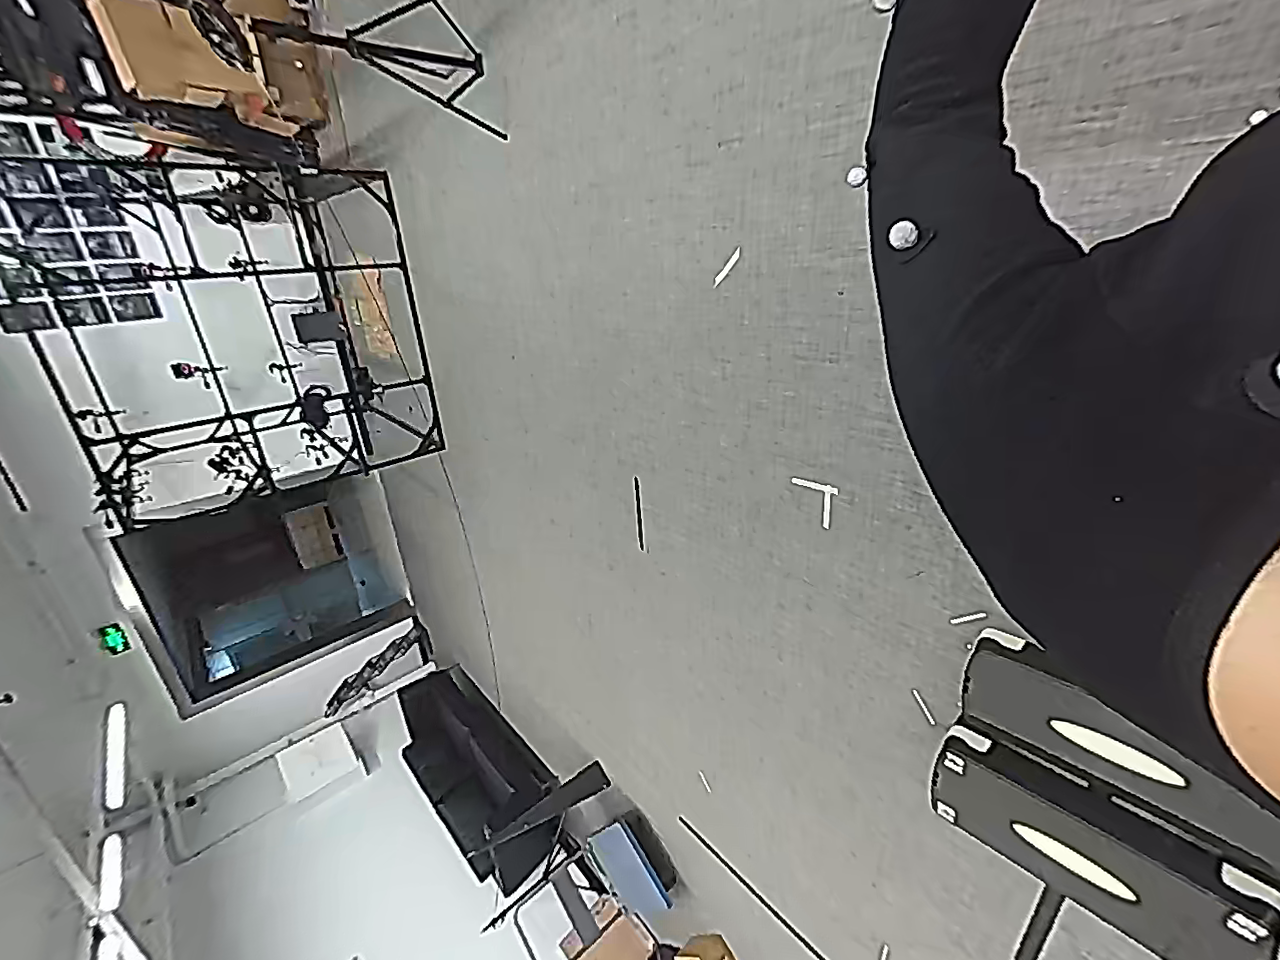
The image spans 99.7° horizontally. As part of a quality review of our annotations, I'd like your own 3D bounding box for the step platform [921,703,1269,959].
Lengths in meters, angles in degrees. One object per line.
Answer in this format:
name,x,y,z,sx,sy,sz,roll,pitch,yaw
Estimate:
step platform,1.122,0.903,1.424,0.684,0.204,0.286,20,122,47
